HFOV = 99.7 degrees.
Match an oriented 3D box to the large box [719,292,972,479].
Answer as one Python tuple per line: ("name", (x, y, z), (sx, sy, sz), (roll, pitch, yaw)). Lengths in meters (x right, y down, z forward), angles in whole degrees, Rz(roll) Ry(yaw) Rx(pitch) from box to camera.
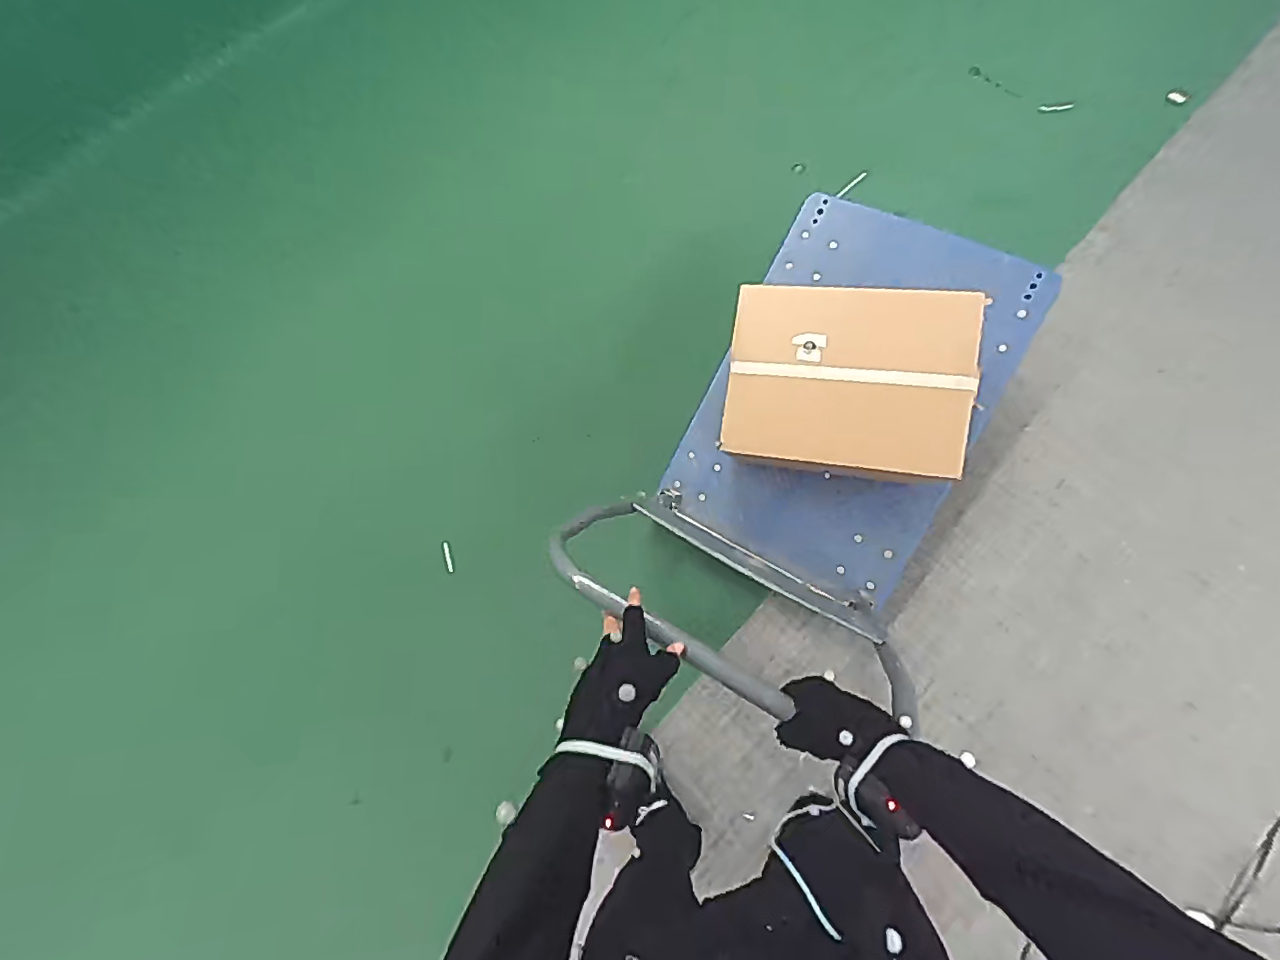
("large box", (0.397, -0.176, 1.103), (0.408, 0.320, 0.320), (7, 89, 17))
